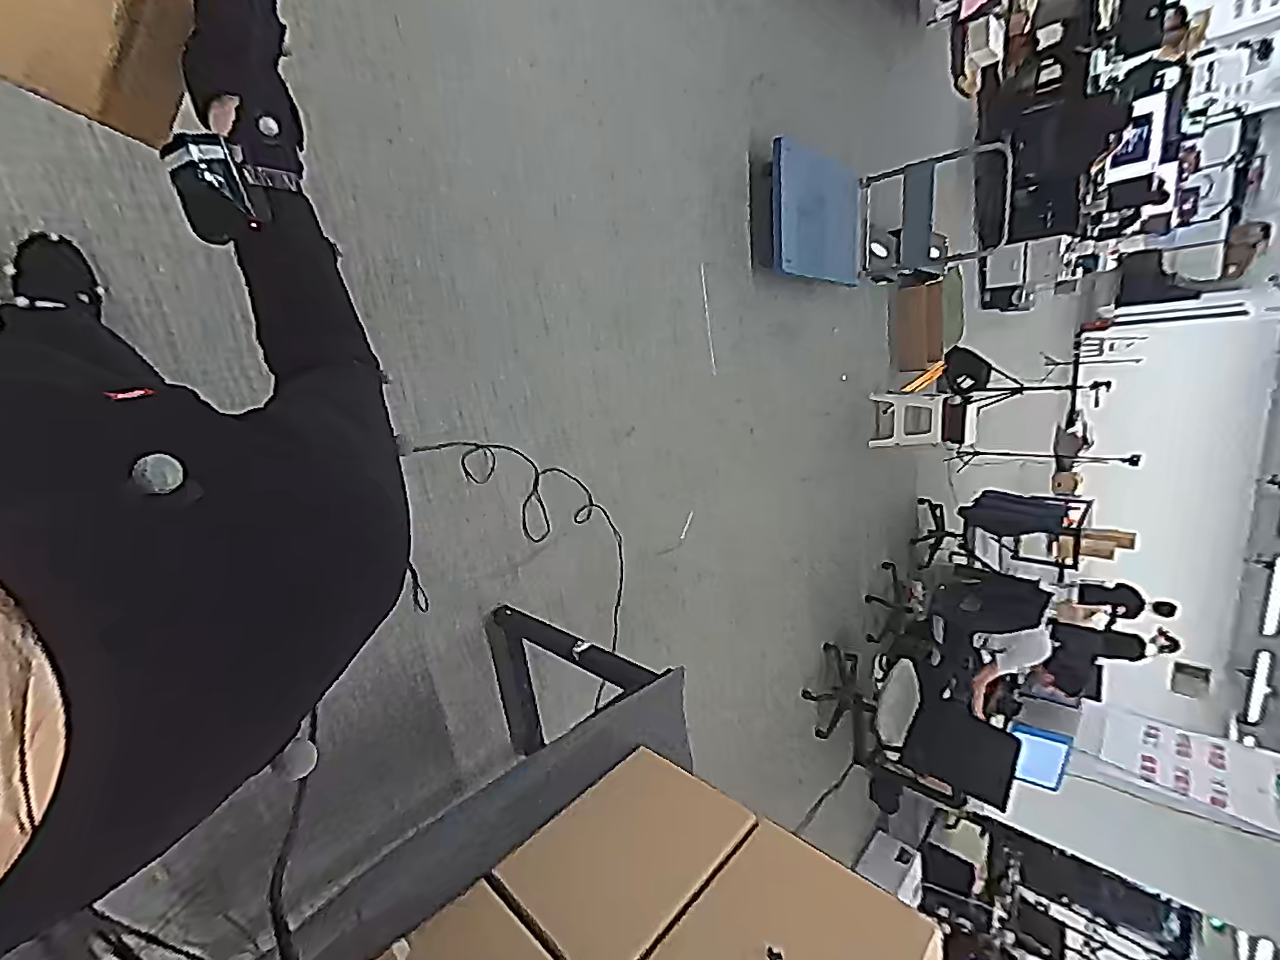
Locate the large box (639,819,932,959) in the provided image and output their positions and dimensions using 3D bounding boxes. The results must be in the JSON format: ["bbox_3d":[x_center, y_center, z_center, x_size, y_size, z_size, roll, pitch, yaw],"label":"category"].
[{"bbox_3d":[0.209,0.839,0.818,0.408,0.320,0.320,-19,109,-44],"label":"large box"}]
